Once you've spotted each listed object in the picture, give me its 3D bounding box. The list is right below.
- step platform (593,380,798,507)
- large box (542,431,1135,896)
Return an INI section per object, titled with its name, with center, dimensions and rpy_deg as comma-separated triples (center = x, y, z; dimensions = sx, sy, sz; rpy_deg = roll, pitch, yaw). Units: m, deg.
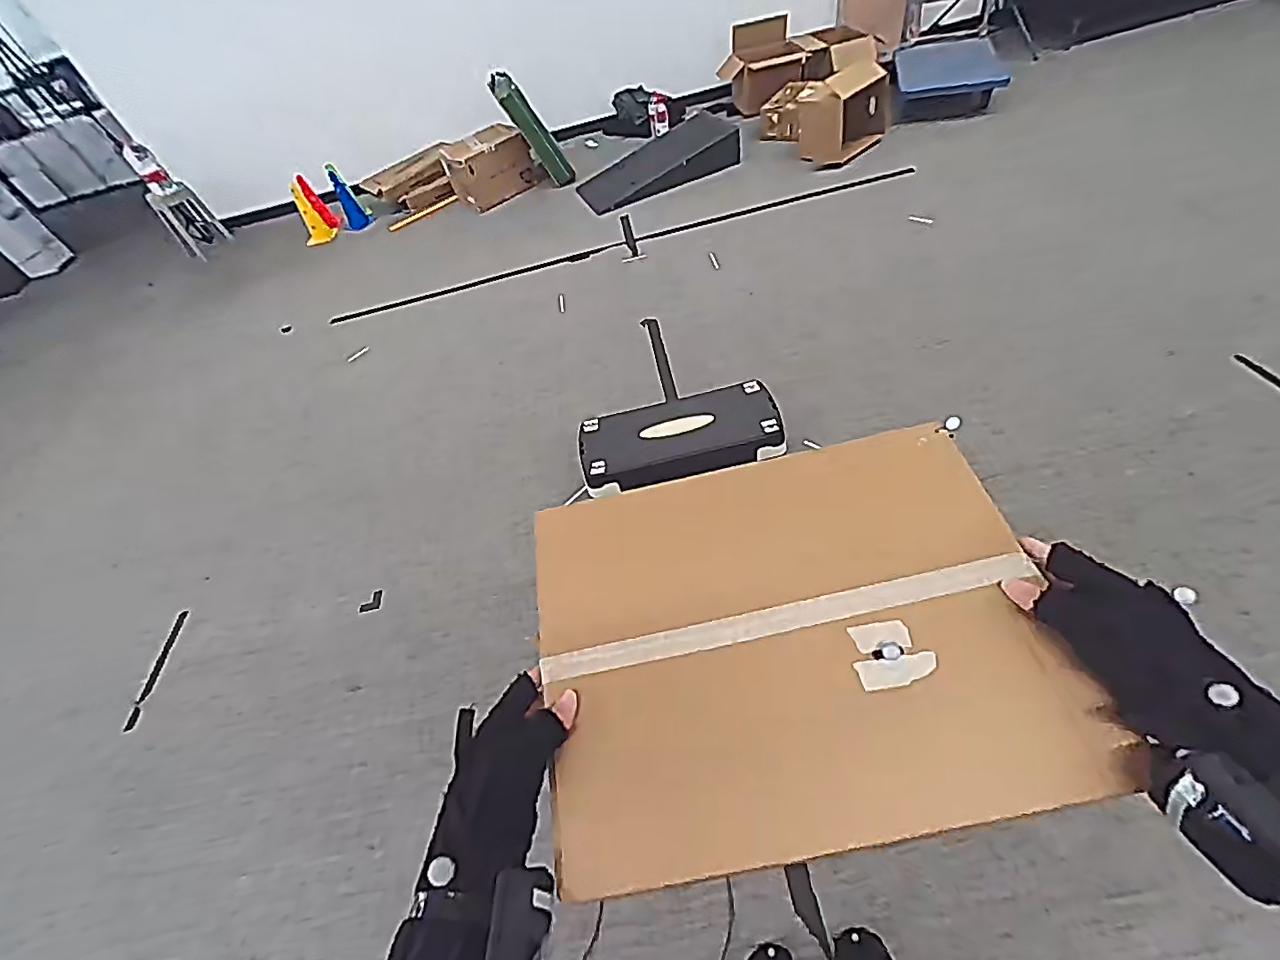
[step platform]
center = 0.181, -0.119, 1.855
dimensions = 0.684, 0.204, 0.286
rpy_deg = -14, 49, 2
[large box]
center = 0.141, 0.202, 0.575
dimensions = 0.408, 0.320, 0.320
rpy_deg = -13, 56, 2
